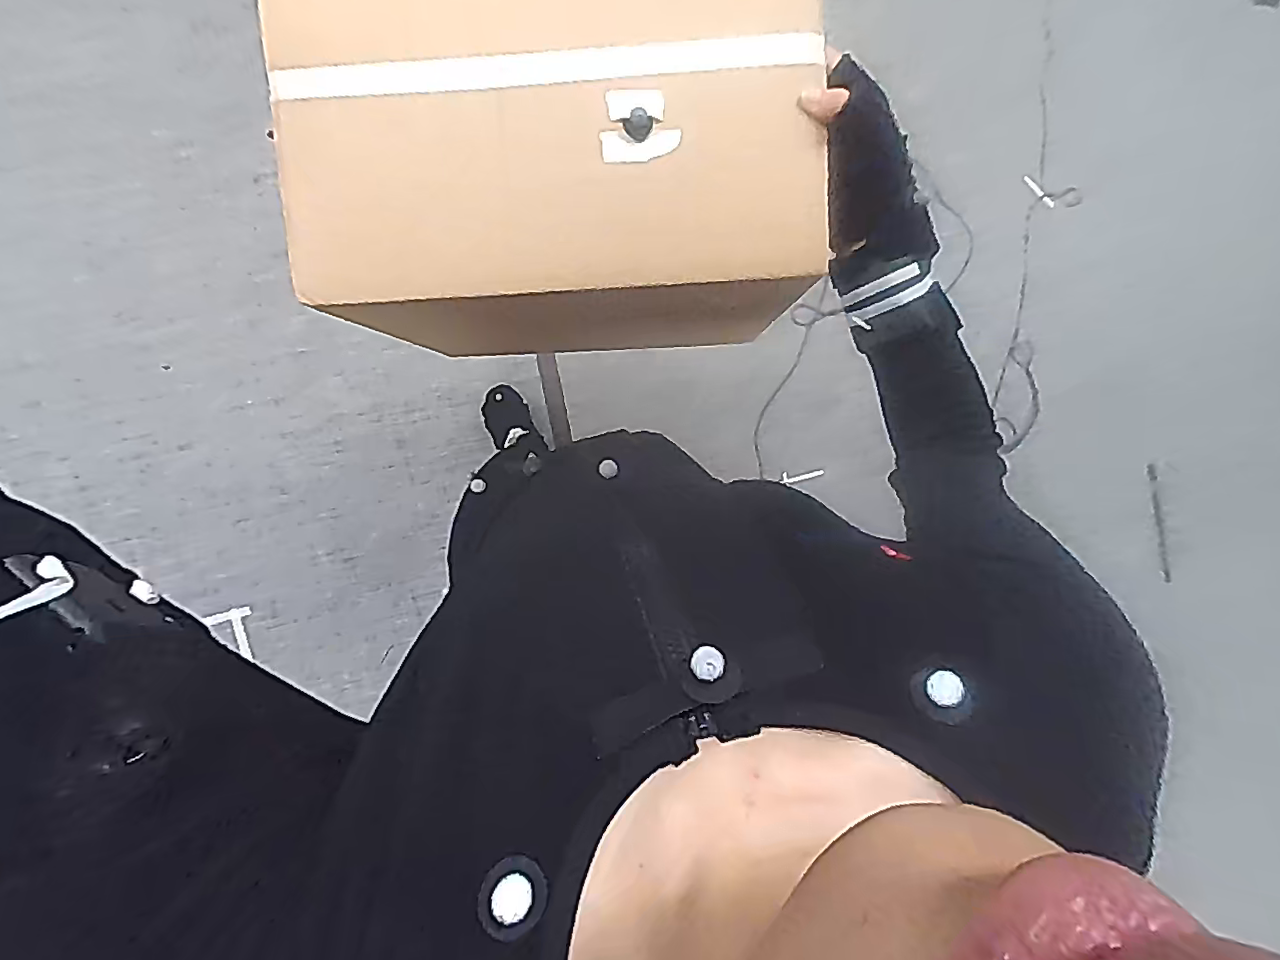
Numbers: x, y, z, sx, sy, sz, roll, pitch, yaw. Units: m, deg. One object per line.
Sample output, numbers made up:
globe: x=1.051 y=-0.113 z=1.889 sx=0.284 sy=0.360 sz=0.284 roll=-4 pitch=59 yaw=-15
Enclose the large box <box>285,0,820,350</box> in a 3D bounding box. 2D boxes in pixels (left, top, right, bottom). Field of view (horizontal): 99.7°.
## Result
large box: x=-0.067 y=-0.324 z=0.557 sx=0.408 sy=0.320 sz=0.320 roll=-3 pitch=96 yaw=1
